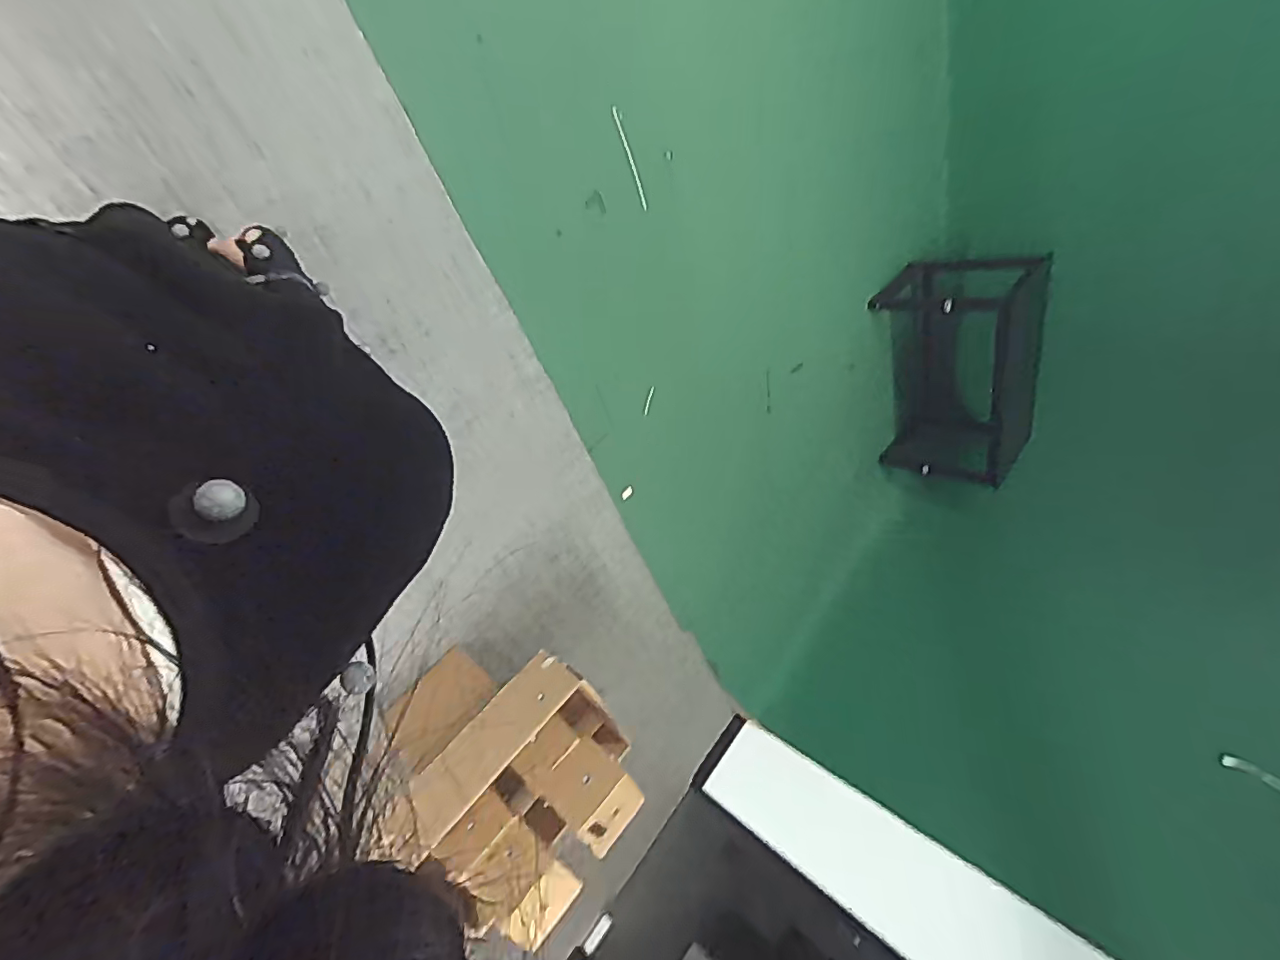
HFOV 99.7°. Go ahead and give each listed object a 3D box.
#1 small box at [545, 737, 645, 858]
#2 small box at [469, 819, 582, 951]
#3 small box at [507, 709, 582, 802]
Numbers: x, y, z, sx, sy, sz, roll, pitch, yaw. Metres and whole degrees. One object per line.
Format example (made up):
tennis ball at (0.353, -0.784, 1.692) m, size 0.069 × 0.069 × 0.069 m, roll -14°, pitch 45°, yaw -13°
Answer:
small box at (-0.121, 0.810, 1.391) m, size 0.179 × 0.176 × 0.168 m, roll -42°, pitch 130°, yaw -28°
small box at (-0.274, 0.963, 1.298) m, size 0.168 × 0.176 × 0.179 m, roll -42°, pitch 129°, yaw -27°
small box at (-0.235, 0.776, 1.505) m, size 0.168 × 0.176 × 0.179 m, roll -47°, pitch 130°, yaw -22°
